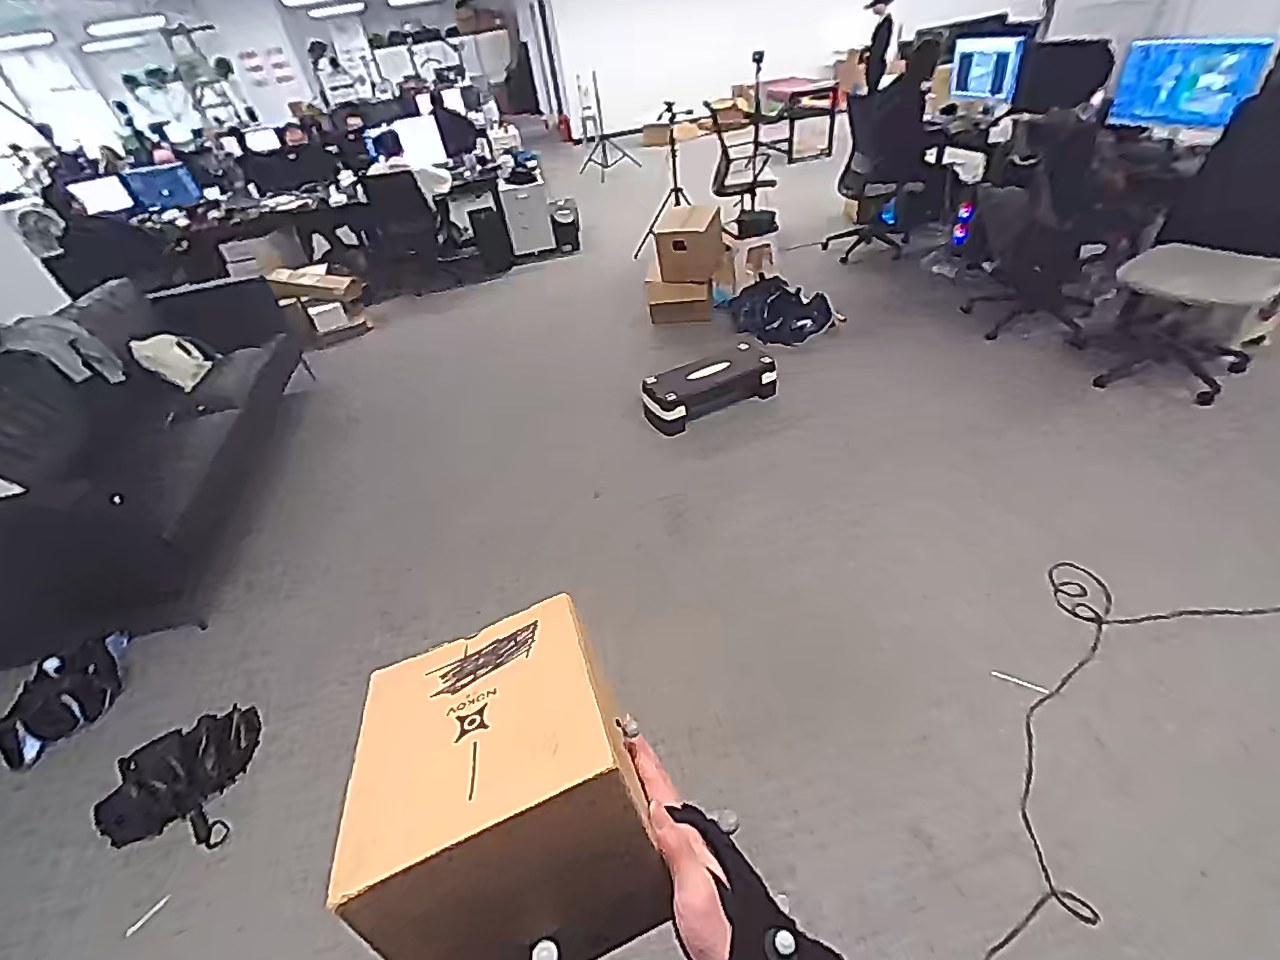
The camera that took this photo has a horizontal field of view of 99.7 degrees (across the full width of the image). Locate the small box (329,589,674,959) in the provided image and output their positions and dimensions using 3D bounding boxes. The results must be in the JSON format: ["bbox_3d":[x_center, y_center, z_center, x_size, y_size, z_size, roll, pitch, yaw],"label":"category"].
[{"bbox_3d":[-0.090,0.220,0.405,0.168,0.176,0.179,-22,28,-7],"label":"small box"}]
